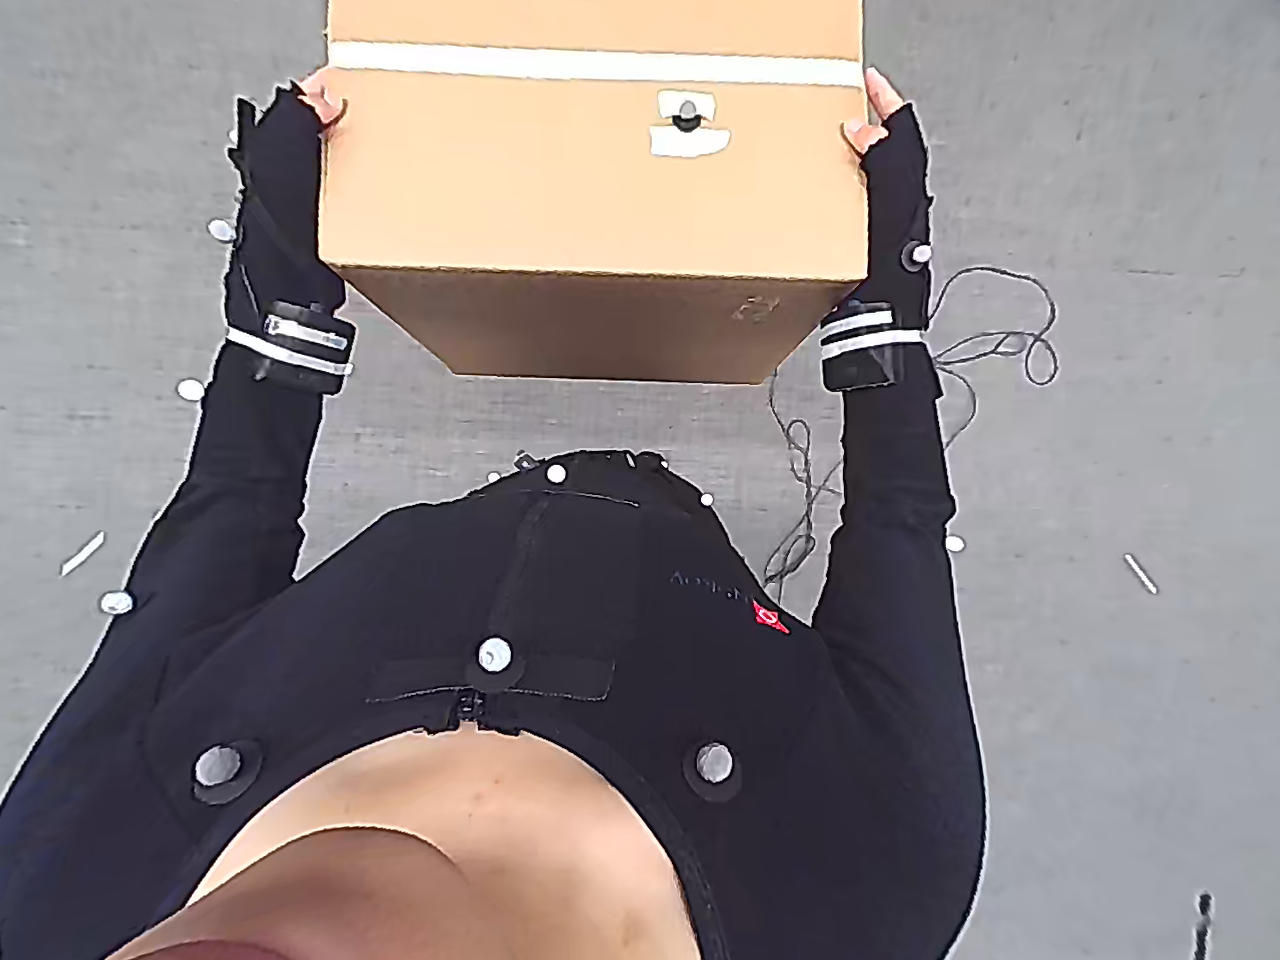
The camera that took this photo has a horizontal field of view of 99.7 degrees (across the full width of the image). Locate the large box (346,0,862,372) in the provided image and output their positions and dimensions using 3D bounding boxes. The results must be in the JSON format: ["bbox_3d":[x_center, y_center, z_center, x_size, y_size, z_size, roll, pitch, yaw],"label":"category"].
[{"bbox_3d":[-0.030,-0.307,0.575,0.408,0.320,0.320,1,86,-2],"label":"large box"}]

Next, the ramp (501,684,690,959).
[{"bbox_3d":[-0.114,1.064,1.428,0.509,0.206,0.991,0,91,0],"label":"ramp"}]
